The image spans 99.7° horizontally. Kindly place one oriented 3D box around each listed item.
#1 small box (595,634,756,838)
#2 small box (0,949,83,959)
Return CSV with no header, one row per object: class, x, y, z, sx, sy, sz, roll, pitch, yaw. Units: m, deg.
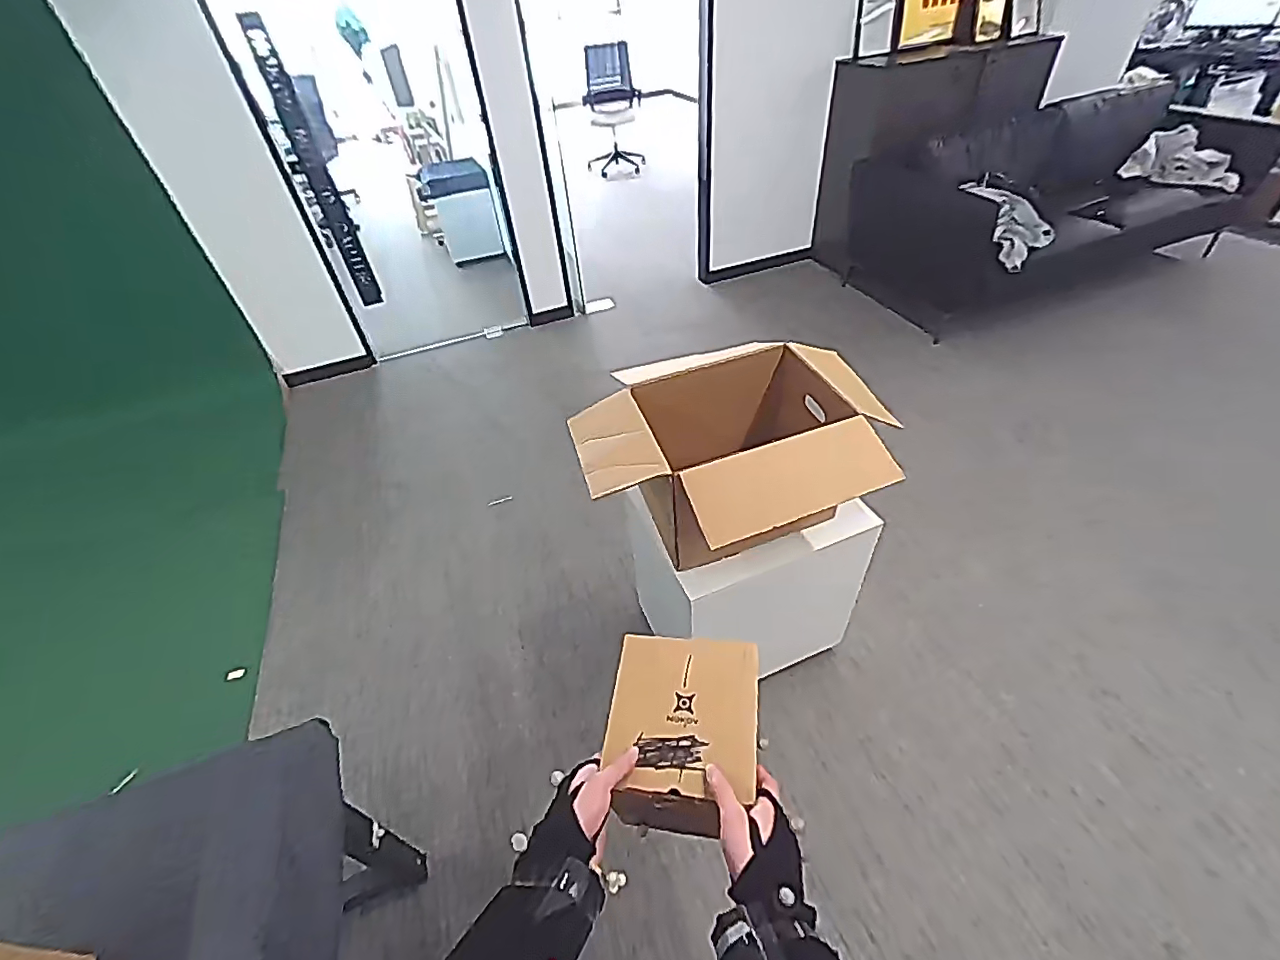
small box,0.056,0.314,0.663,0.168,0.176,0.179,2,45,12
small box,-0.738,0.613,0.549,0.179,0.176,0.168,-16,45,-13
